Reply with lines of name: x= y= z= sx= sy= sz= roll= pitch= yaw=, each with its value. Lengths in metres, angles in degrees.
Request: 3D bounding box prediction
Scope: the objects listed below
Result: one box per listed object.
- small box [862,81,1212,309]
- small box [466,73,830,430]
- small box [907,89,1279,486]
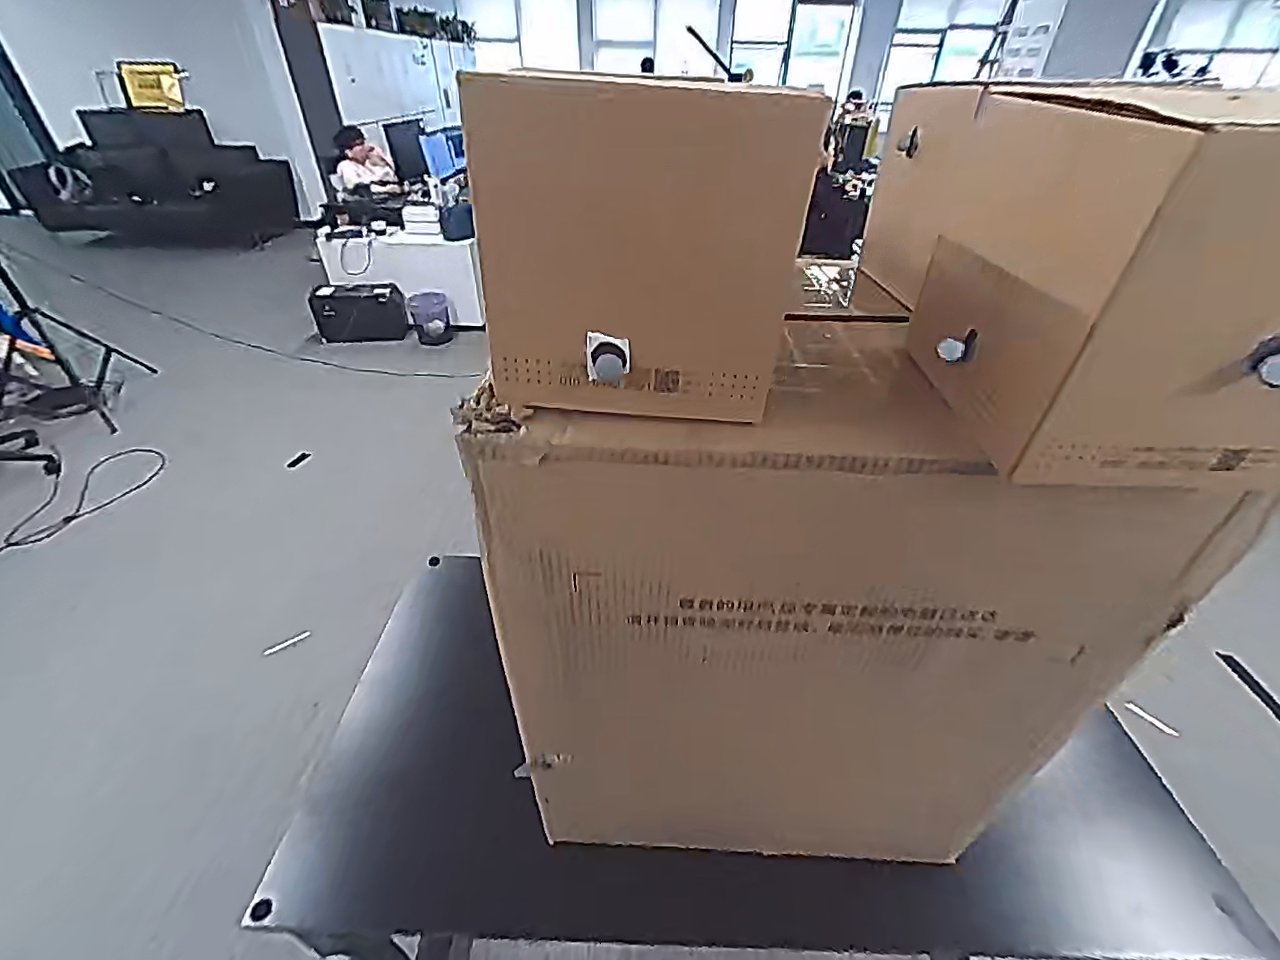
small box: x=0.322 y=-0.255 z=0.494 sx=0.168 sy=0.176 sz=0.179 roll=0 pitch=35 yaw=1
small box: x=0.002 y=-0.152 z=0.351 sx=0.168 sy=0.176 sz=0.179 roll=3 pitch=38 yaw=0
small box: x=0.283 y=-0.111 z=0.309 sx=0.168 sy=0.176 sz=0.179 roll=1 pitch=40 yaw=2
